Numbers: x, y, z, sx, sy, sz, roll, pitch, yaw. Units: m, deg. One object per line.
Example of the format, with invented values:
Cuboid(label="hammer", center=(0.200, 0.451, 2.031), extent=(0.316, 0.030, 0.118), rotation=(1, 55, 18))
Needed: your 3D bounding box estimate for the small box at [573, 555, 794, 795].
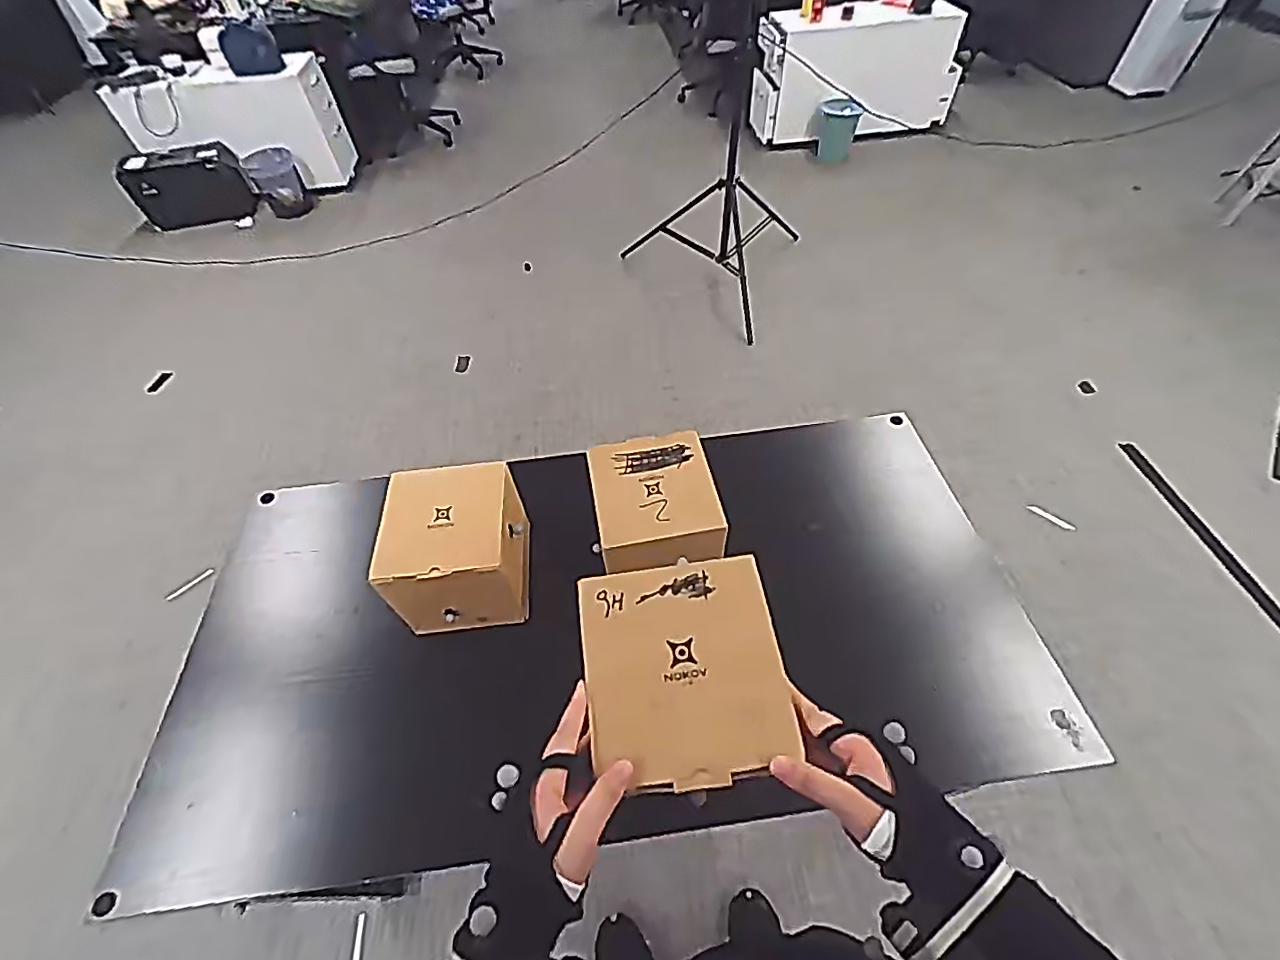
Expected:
Cuboid(label="small box", center=(0.033, 0.192, 0.524), extent=(0.168, 0.176, 0.179), rotation=(-8, 60, -2))

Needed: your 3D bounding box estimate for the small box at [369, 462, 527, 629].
Cuboid(label="small box", center=(-0.265, 0.097, 0.792), extent=(0.168, 0.176, 0.179), rotation=(-6, 53, -2))
